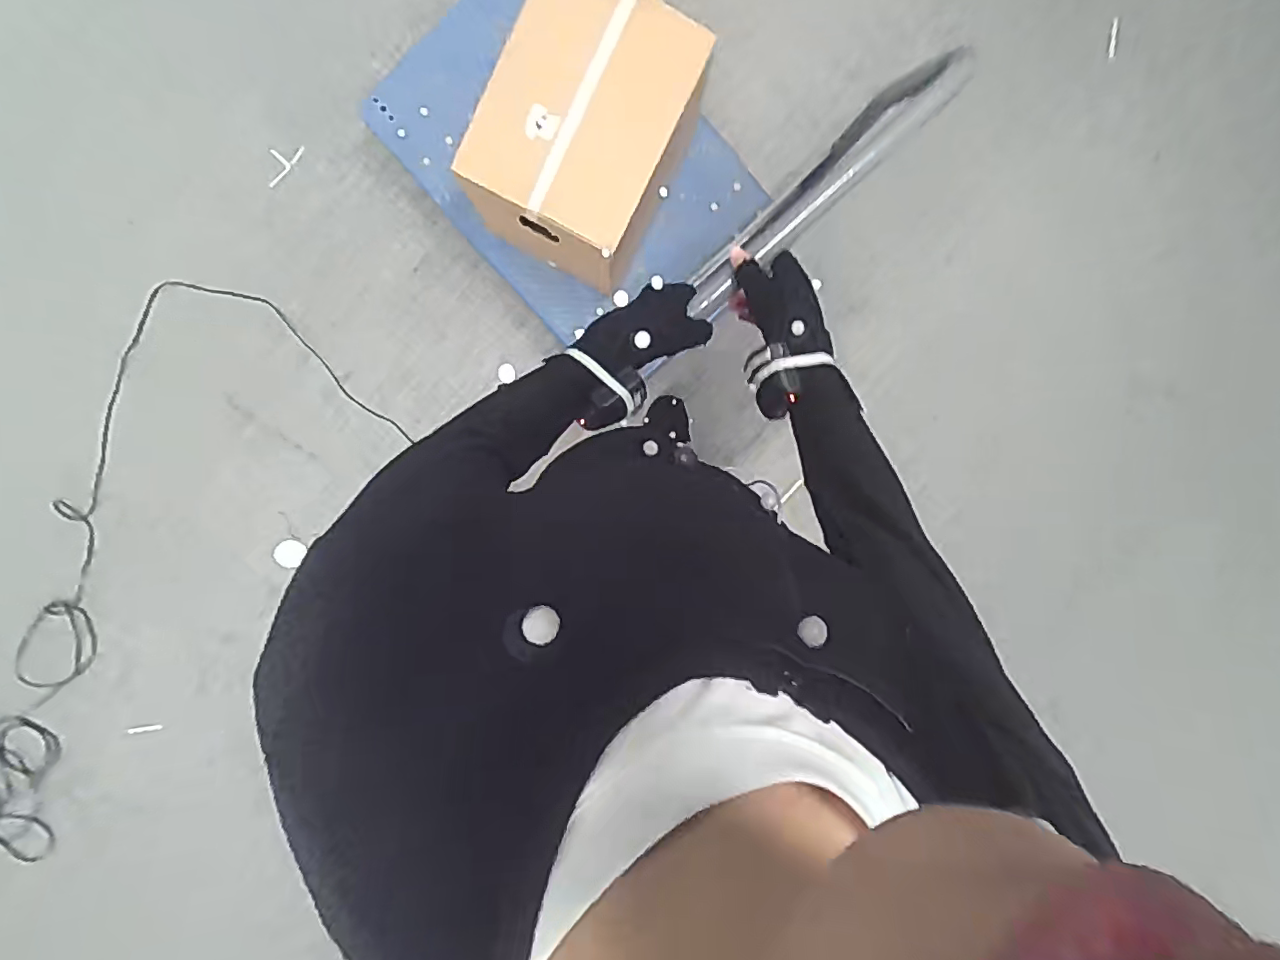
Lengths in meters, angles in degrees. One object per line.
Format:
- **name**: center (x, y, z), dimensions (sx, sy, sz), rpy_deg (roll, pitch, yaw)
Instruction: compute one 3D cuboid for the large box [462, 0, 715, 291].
- **large box**: center (-0.095, -0.659, 1.077), dimensions (0.320, 0.320, 0.408), rpy_deg (26, 95, -4)
